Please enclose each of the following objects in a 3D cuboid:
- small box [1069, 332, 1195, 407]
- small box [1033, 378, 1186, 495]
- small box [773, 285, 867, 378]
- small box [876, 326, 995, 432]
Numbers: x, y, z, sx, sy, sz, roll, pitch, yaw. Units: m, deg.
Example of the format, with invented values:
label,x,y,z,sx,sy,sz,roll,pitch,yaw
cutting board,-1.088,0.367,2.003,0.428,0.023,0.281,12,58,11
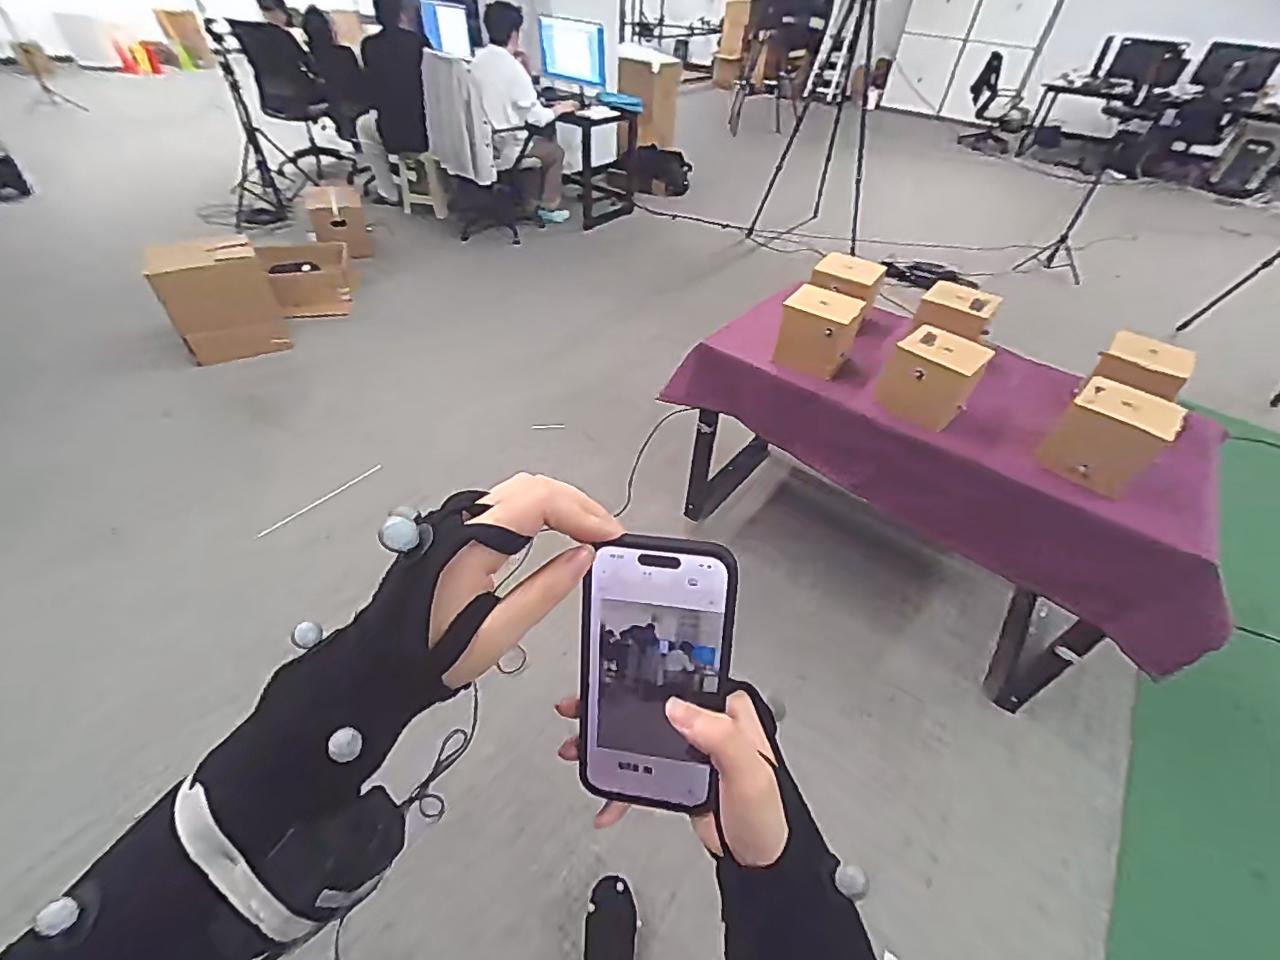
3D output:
label,x,y,z,sx,sy,sz,roll,pitch,yaw
small box,1.233,-0.242,1.363,0.168,0.176,0.179,34,52,28
small box,1.022,-0.090,1.188,0.168,0.176,0.179,-31,55,-32
small box,0.483,-0.401,1.469,0.179,0.176,0.168,27,48,20
small box,0.715,-0.247,1.326,0.168,0.176,0.179,-33,56,-32
